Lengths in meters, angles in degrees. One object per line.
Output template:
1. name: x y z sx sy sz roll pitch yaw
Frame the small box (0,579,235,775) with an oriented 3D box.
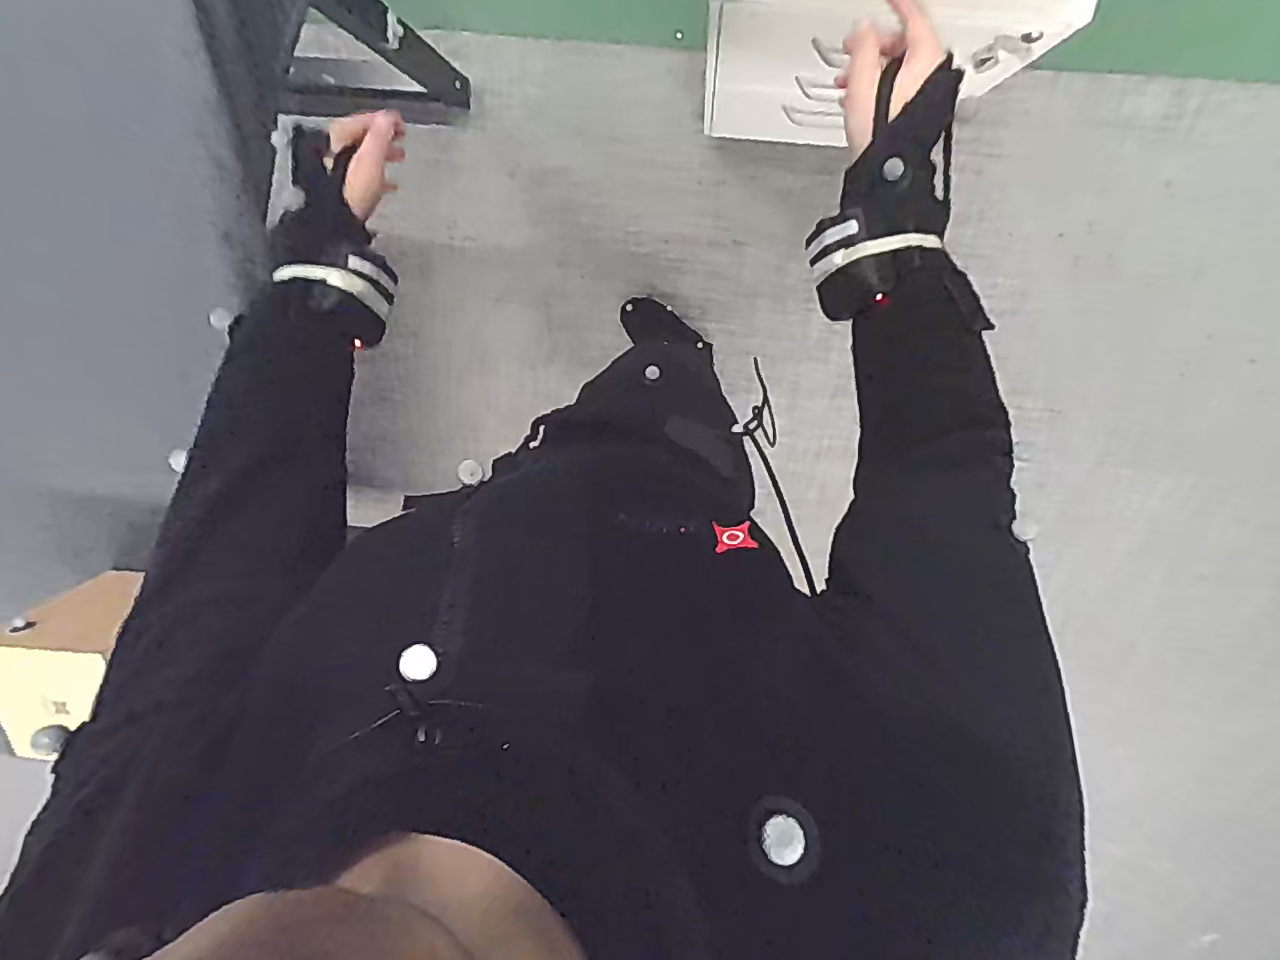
1. small box: -0.660 0.238 0.685 0.179 0.176 0.168 2 109 5
